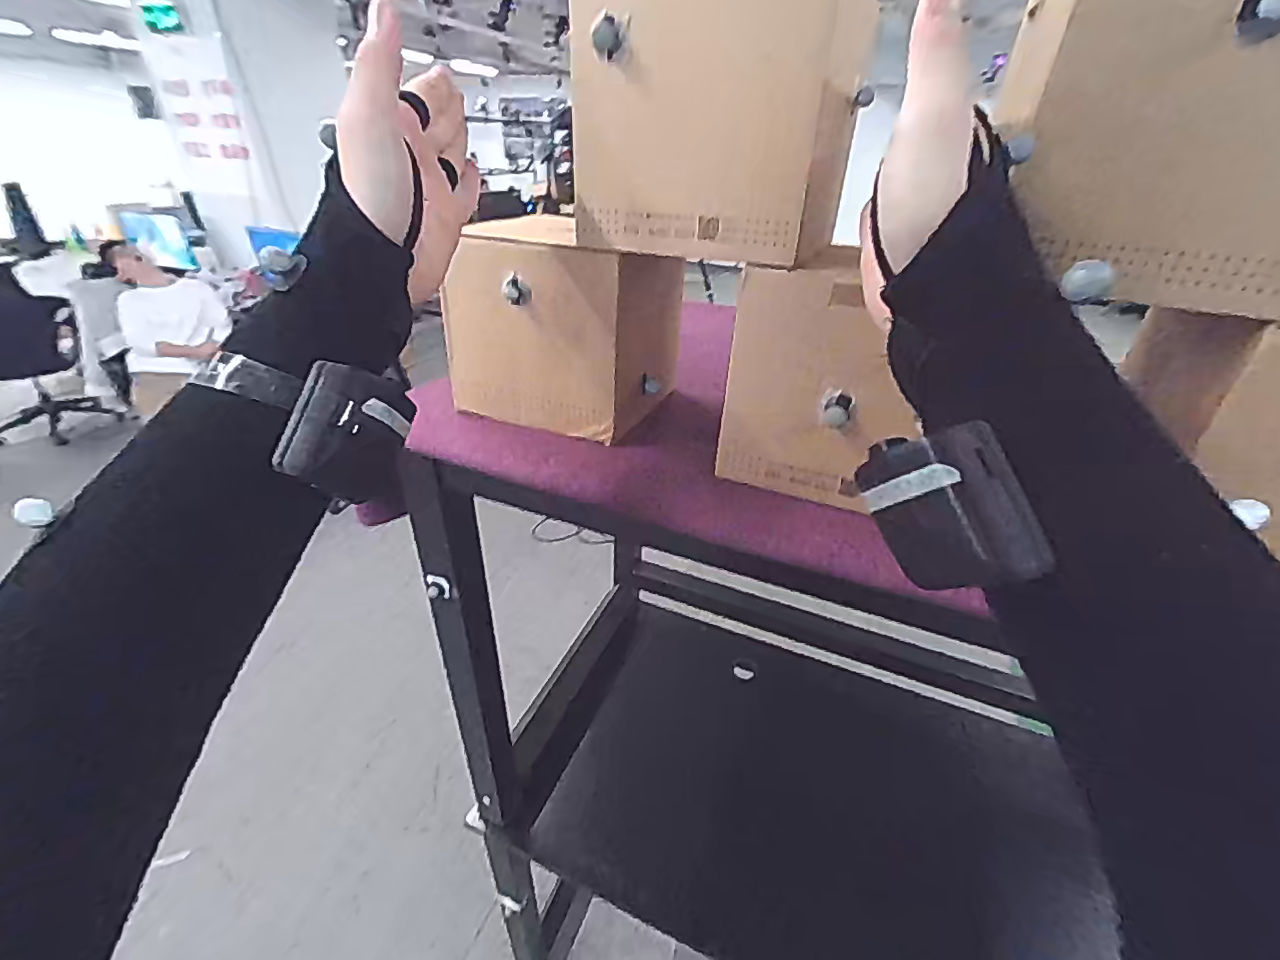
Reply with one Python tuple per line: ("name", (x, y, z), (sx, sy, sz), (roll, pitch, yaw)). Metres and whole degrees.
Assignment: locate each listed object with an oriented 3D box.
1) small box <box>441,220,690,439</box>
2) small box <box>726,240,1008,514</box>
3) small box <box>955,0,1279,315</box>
("small box", (-0.065, -0.155, 0.536), (0.179, 0.176, 0.168), (15, 33, 18))
("small box", (0.176, -0.094, 0.452), (0.168, 0.176, 0.179), (15, 33, 19))
("small box", (0.311, -0.204, 0.326), (0.179, 0.176, 0.168), (14, 32, 17))
